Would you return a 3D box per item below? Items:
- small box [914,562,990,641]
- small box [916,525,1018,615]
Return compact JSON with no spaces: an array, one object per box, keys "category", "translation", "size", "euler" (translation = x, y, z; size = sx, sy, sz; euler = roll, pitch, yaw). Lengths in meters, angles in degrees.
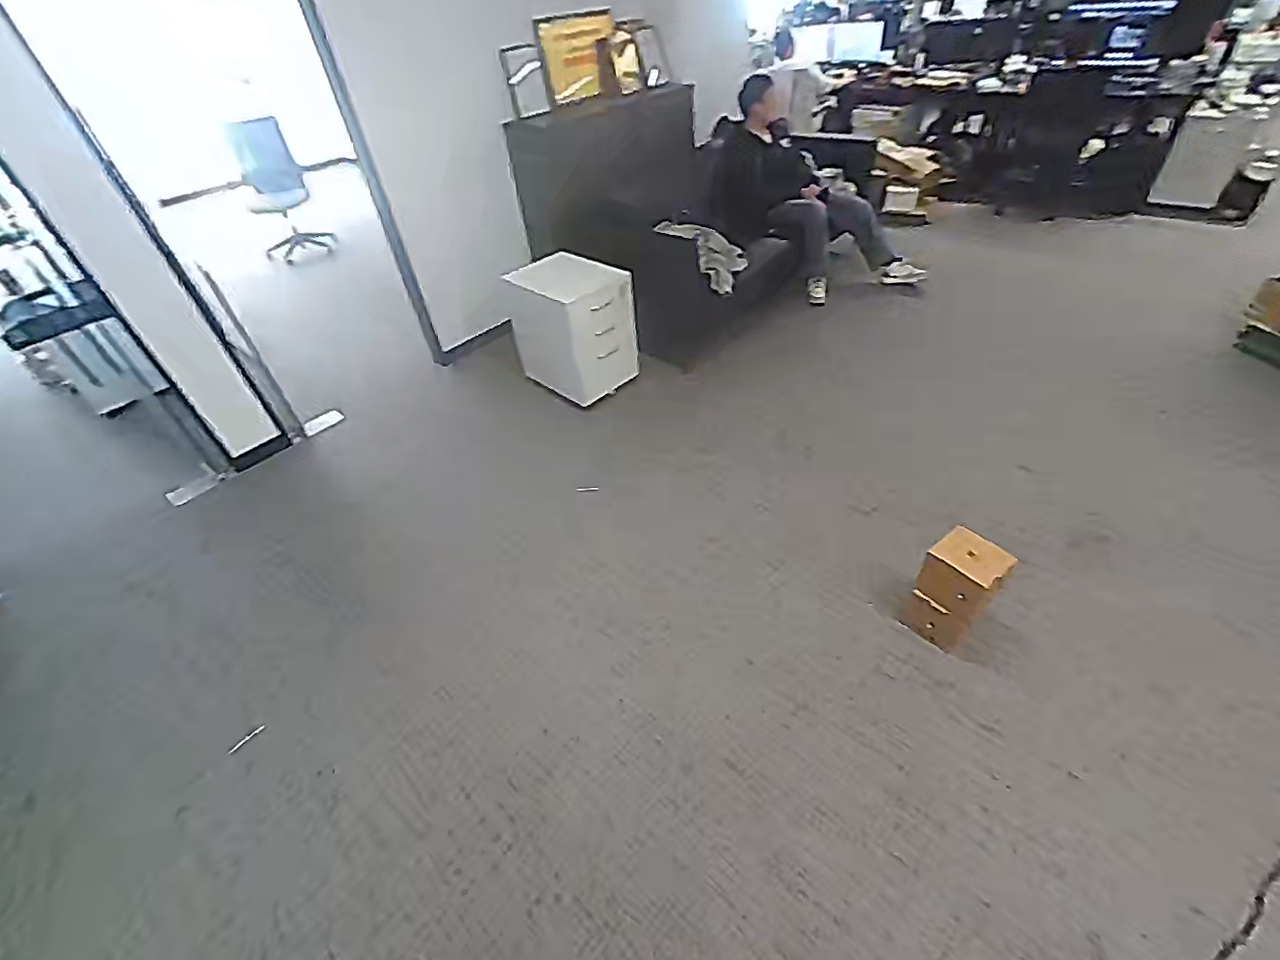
[{"category":"small box","translation":[0.966,0.380,1.694],"size":[0.179,0.176,0.168],"euler":[9,43,19]},{"category":"small box","translation":[0.951,0.270,1.586],"size":[0.168,0.176,0.179],"euler":[-27,45,-24]}]
